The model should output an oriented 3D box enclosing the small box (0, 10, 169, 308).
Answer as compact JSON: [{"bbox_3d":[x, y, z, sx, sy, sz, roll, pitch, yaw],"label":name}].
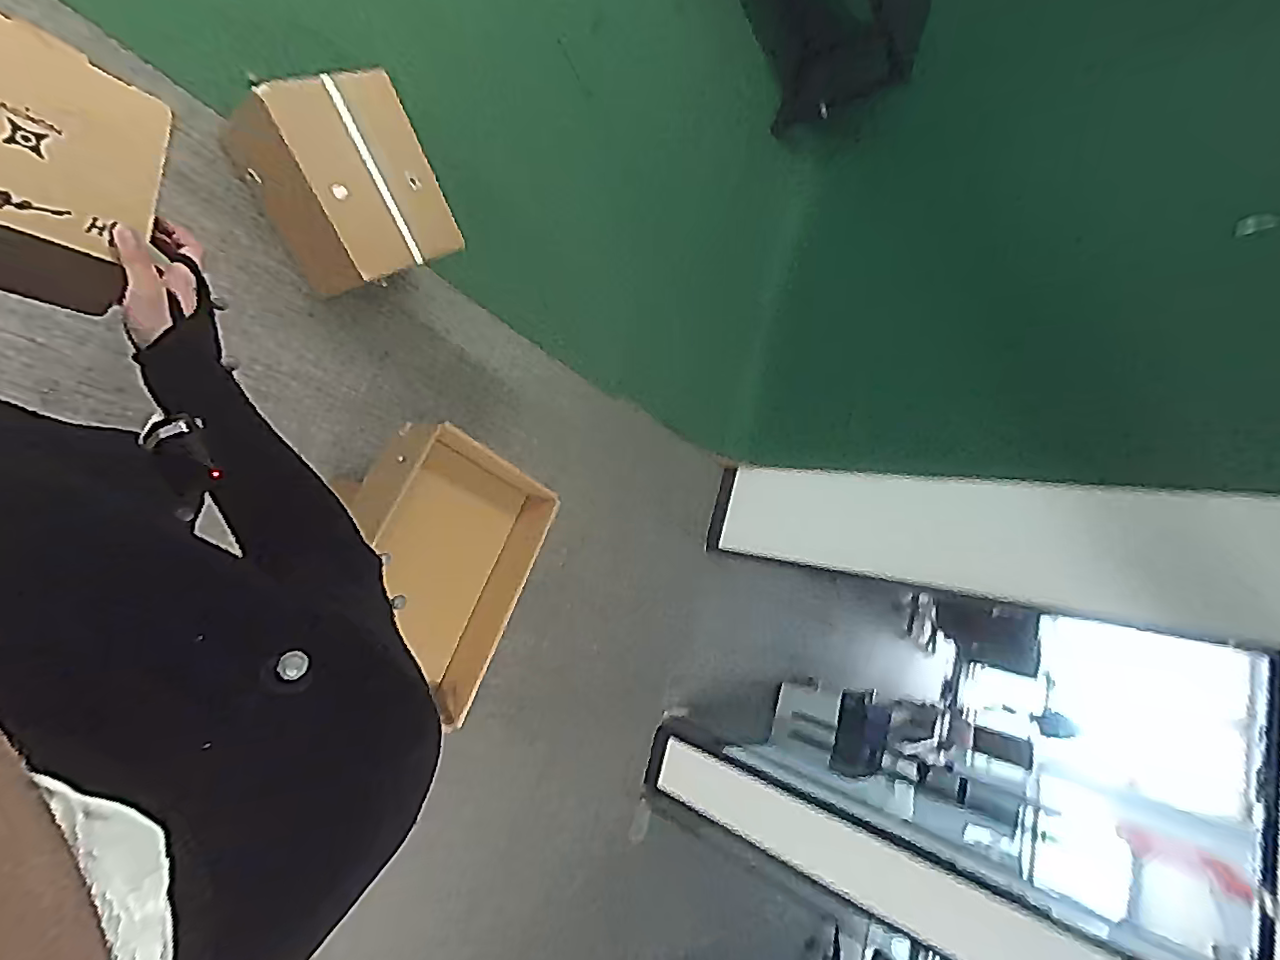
[{"bbox_3d":[-0.565,-0.282,0.486,0.168,0.176,0.179,12,77,-53],"label":"small box"}]
